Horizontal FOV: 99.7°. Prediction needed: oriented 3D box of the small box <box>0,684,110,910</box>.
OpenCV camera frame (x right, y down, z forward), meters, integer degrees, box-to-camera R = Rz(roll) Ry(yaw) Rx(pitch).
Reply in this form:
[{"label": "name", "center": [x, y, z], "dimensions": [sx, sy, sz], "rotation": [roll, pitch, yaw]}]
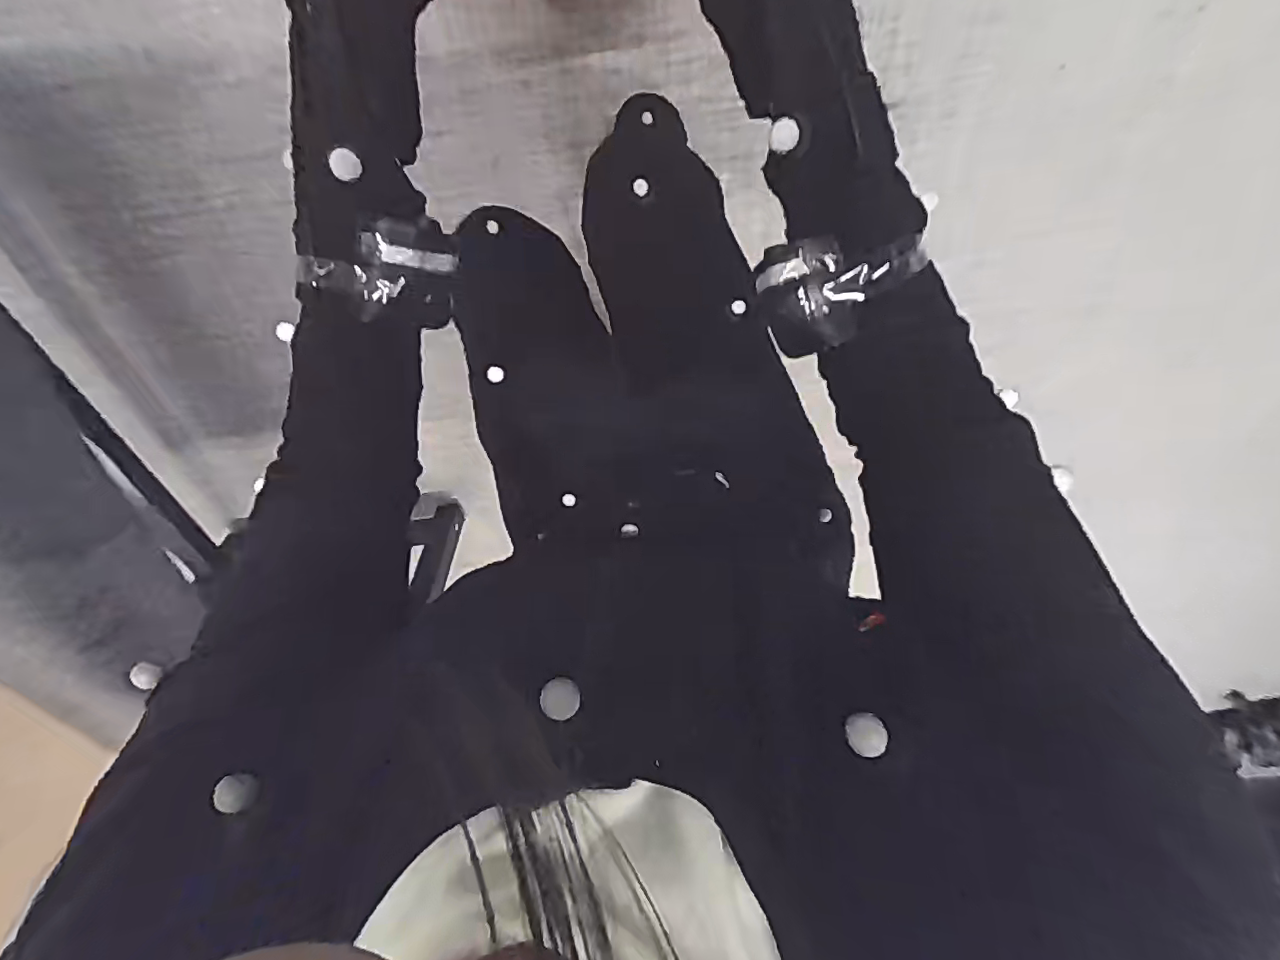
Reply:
[{"label": "small box", "center": [-0.561, 0.248, 0.384], "dimensions": [0.168, 0.176, 0.179], "rotation": [-5, 129, 4]}]
